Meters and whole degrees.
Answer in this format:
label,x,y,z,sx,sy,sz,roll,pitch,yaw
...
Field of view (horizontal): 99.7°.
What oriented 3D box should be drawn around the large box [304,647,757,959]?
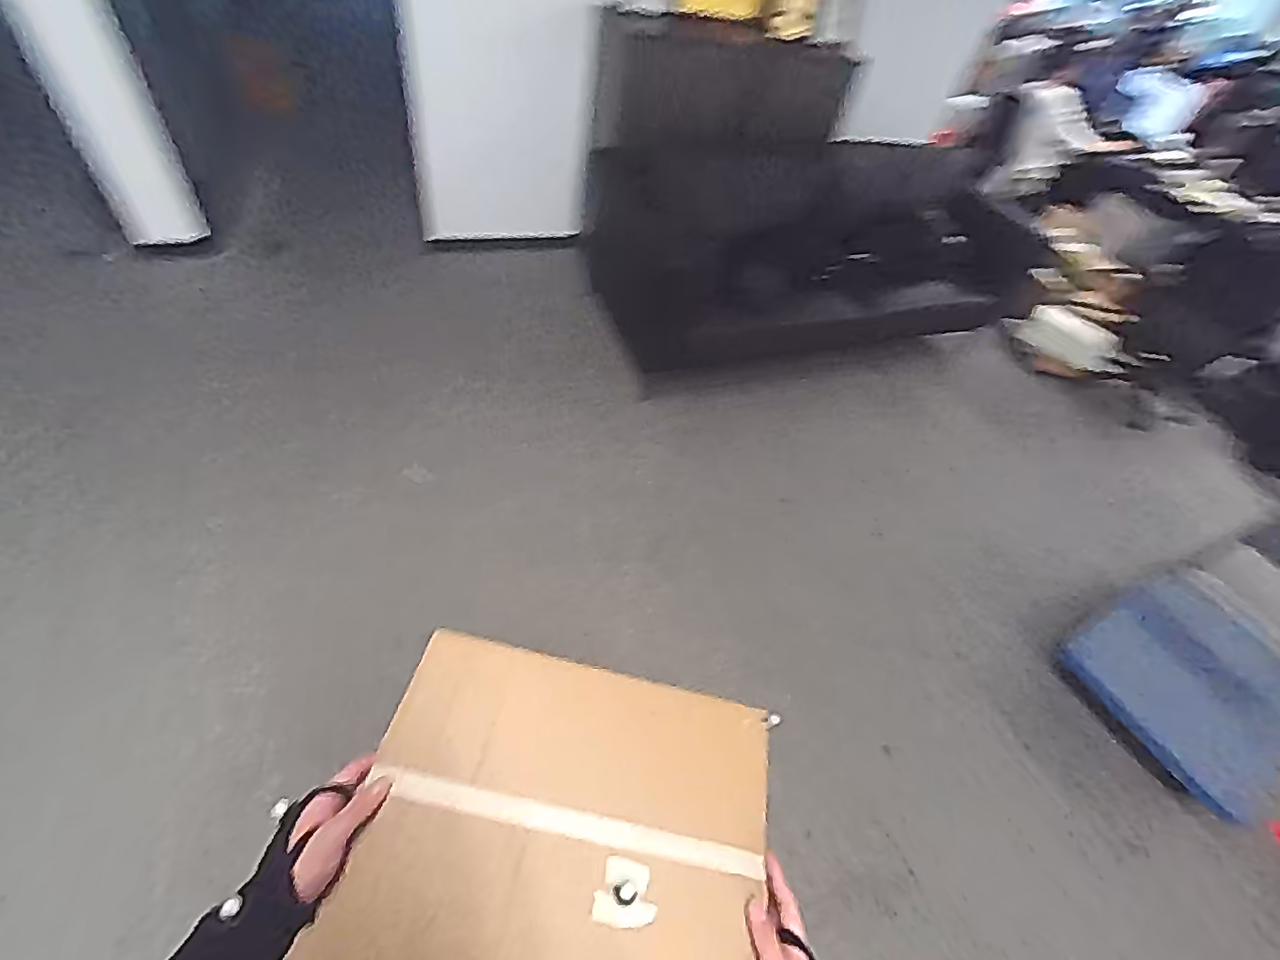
label,x,y,z,sx,sy,sz,roll,pitch,yaw
large box,-0.103,0.444,0.659,0.408,0.320,0.320,14,50,-3
